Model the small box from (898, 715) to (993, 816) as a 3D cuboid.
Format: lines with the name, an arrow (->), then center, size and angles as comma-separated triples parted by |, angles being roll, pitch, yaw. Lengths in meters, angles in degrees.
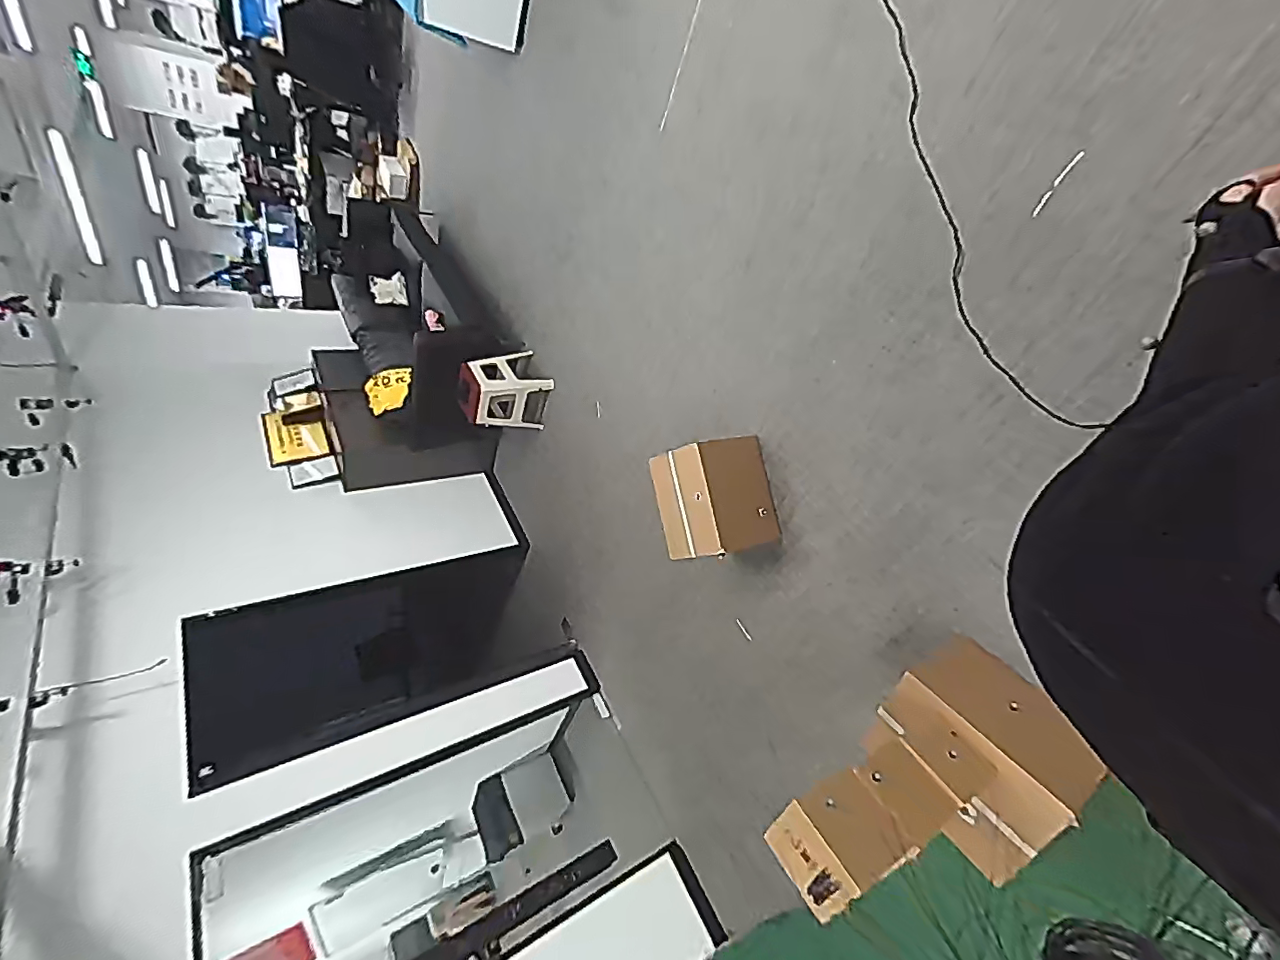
small box -> 0.668, 0.677, 1.242 | 0.168, 0.176, 0.179 | 49, 134, 38

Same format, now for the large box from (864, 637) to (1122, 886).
large box -> 0.875, 0.683, 1.380 | 0.408, 0.320, 0.320 | 41, 131, 41

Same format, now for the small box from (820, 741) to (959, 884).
small box -> 0.533, 0.702, 1.156 | 0.179, 0.176, 0.168 | 50, 135, 38
